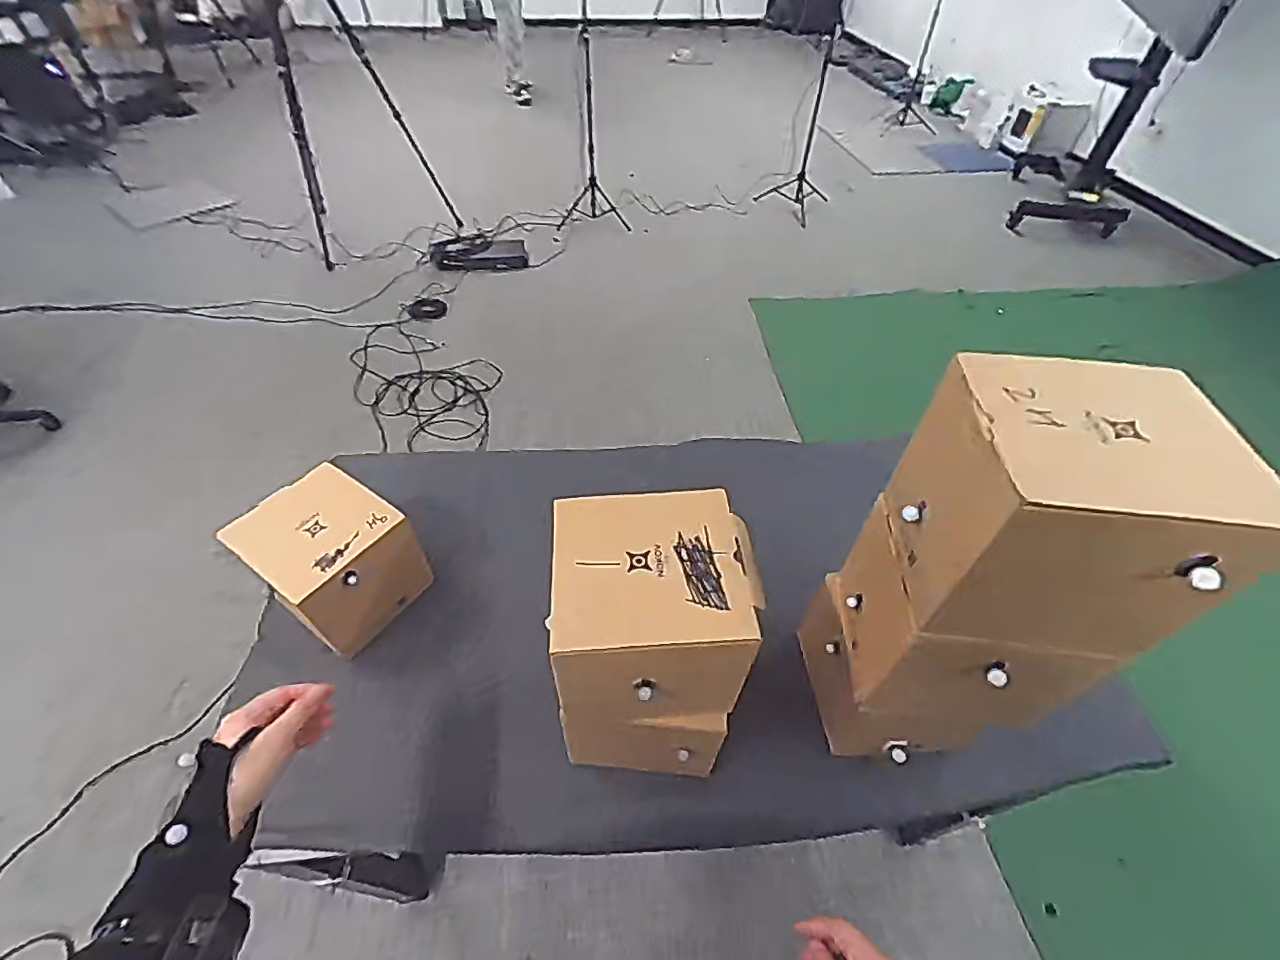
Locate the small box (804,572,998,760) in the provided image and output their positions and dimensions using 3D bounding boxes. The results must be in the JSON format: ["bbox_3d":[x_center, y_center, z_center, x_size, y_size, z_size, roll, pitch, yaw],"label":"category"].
[{"bbox_3d":[0.323,0.232,0.685,0.168,0.176,0.179,-4,48,-2],"label":"small box"}]

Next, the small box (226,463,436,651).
[{"bbox_3d":[-0.429,0.114,0.777,0.179,0.176,0.168,28,54,21],"label":"small box"}]

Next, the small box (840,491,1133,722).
[{"bbox_3d":[0.325,0.133,0.555,0.179,0.176,0.168,4,47,5],"label":"small box"}]

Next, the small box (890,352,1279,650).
[{"bbox_3d":[0.328,0.020,0.435,0.179,0.176,0.168,6,47,6],"label":"small box"}]

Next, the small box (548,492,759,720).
[{"bbox_3d":[0.006,0.130,0.549,0.179,0.176,0.168,-3,47,-3],"label":"small box"}]
